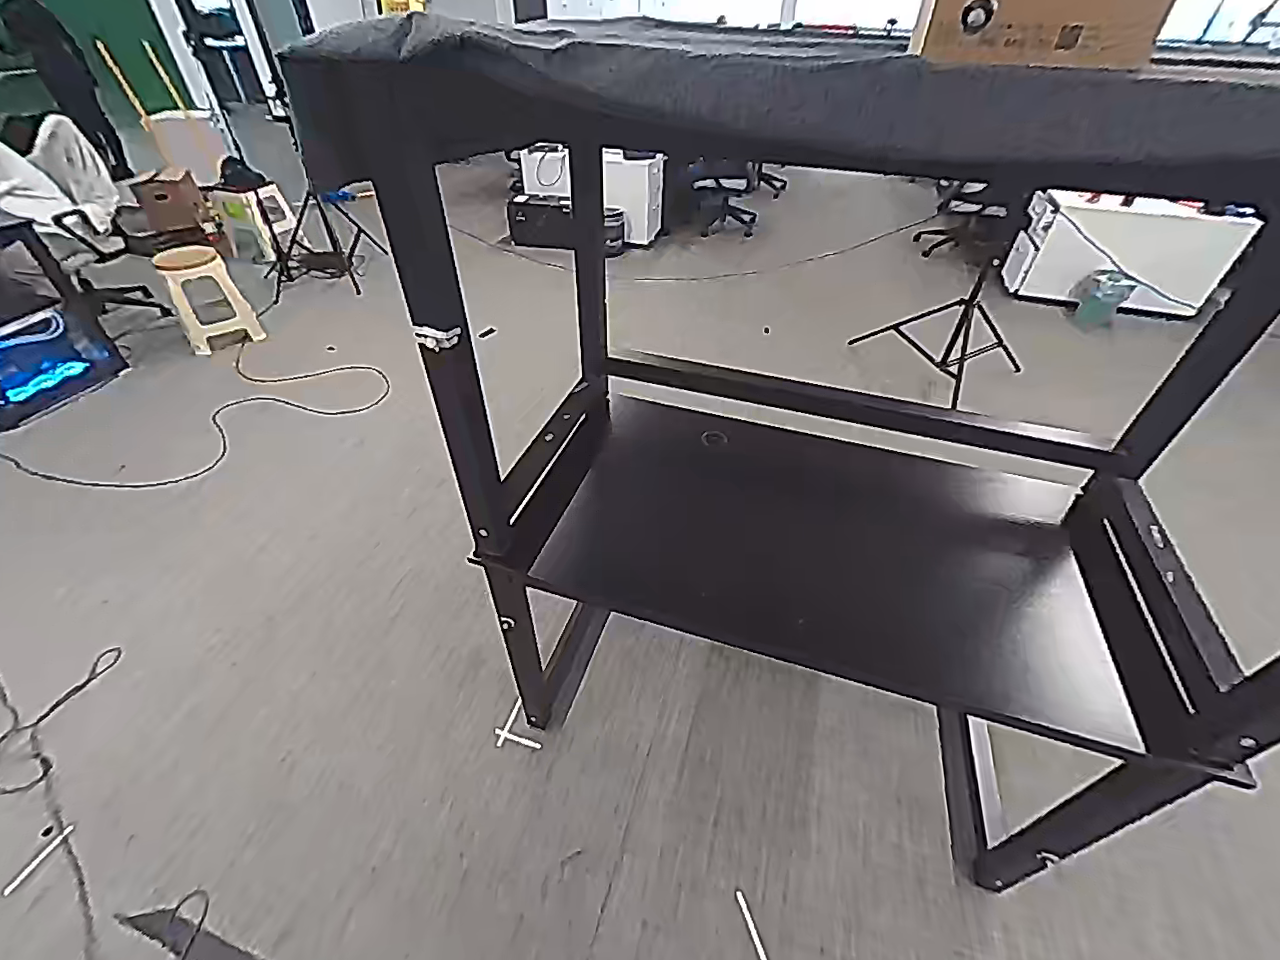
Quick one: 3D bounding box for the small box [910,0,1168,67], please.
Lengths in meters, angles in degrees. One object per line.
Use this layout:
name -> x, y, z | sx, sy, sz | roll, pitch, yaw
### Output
small box -> 0.338, -0.450, 0.445 | 0.168, 0.176, 0.179 | 13, 41, 12
